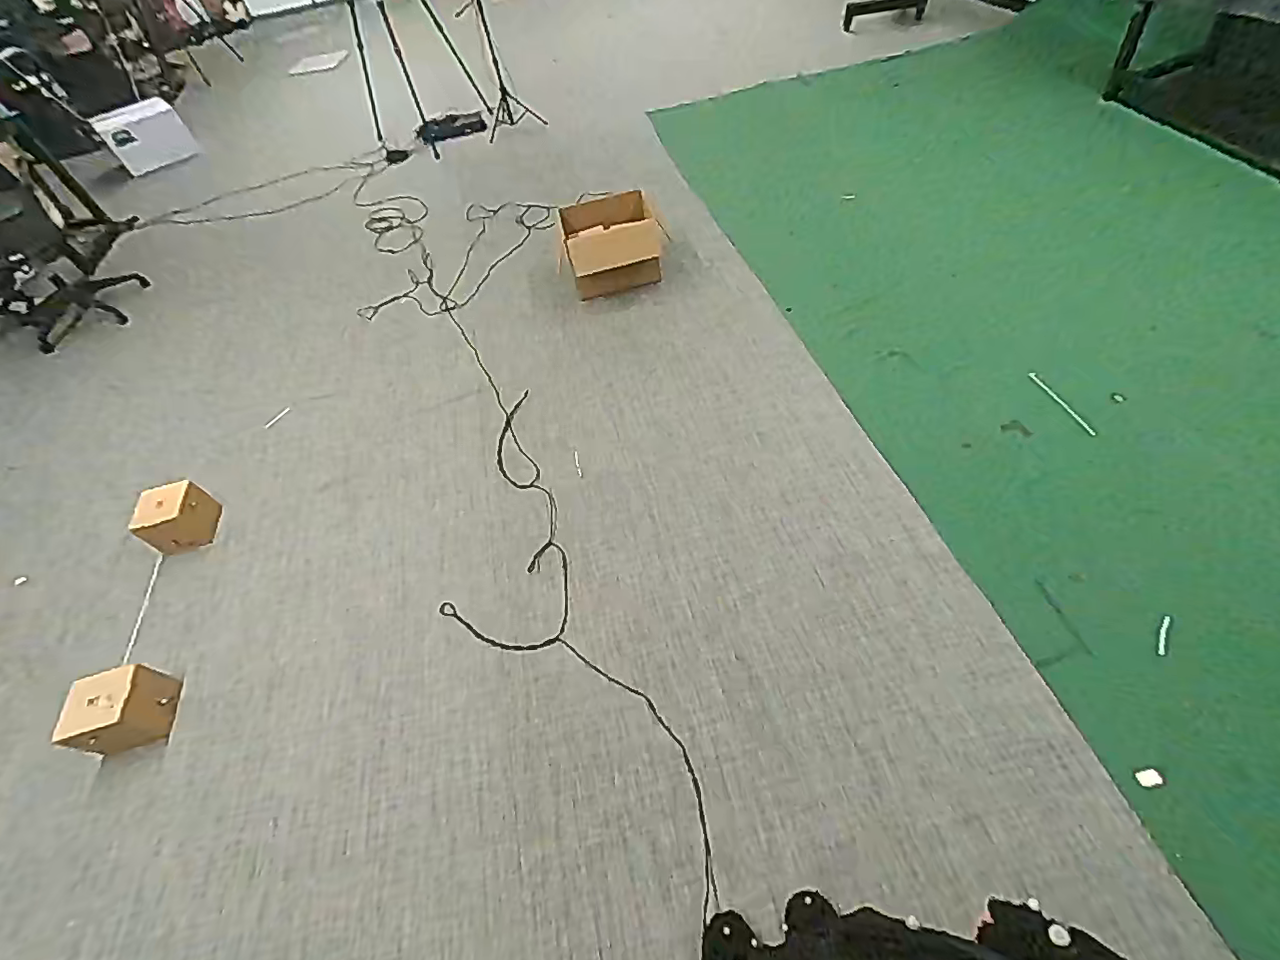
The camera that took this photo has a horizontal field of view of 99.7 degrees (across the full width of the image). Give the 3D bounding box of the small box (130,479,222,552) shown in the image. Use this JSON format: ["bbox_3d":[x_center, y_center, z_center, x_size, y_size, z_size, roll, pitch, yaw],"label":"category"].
[{"bbox_3d":[-1.635,0.128,1.918,0.168,0.176,0.179,-16,53,-4],"label":"small box"}]

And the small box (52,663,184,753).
[{"bbox_3d":[-1.439,0.638,1.504,0.179,0.176,0.168,-17,53,-4],"label":"small box"}]
